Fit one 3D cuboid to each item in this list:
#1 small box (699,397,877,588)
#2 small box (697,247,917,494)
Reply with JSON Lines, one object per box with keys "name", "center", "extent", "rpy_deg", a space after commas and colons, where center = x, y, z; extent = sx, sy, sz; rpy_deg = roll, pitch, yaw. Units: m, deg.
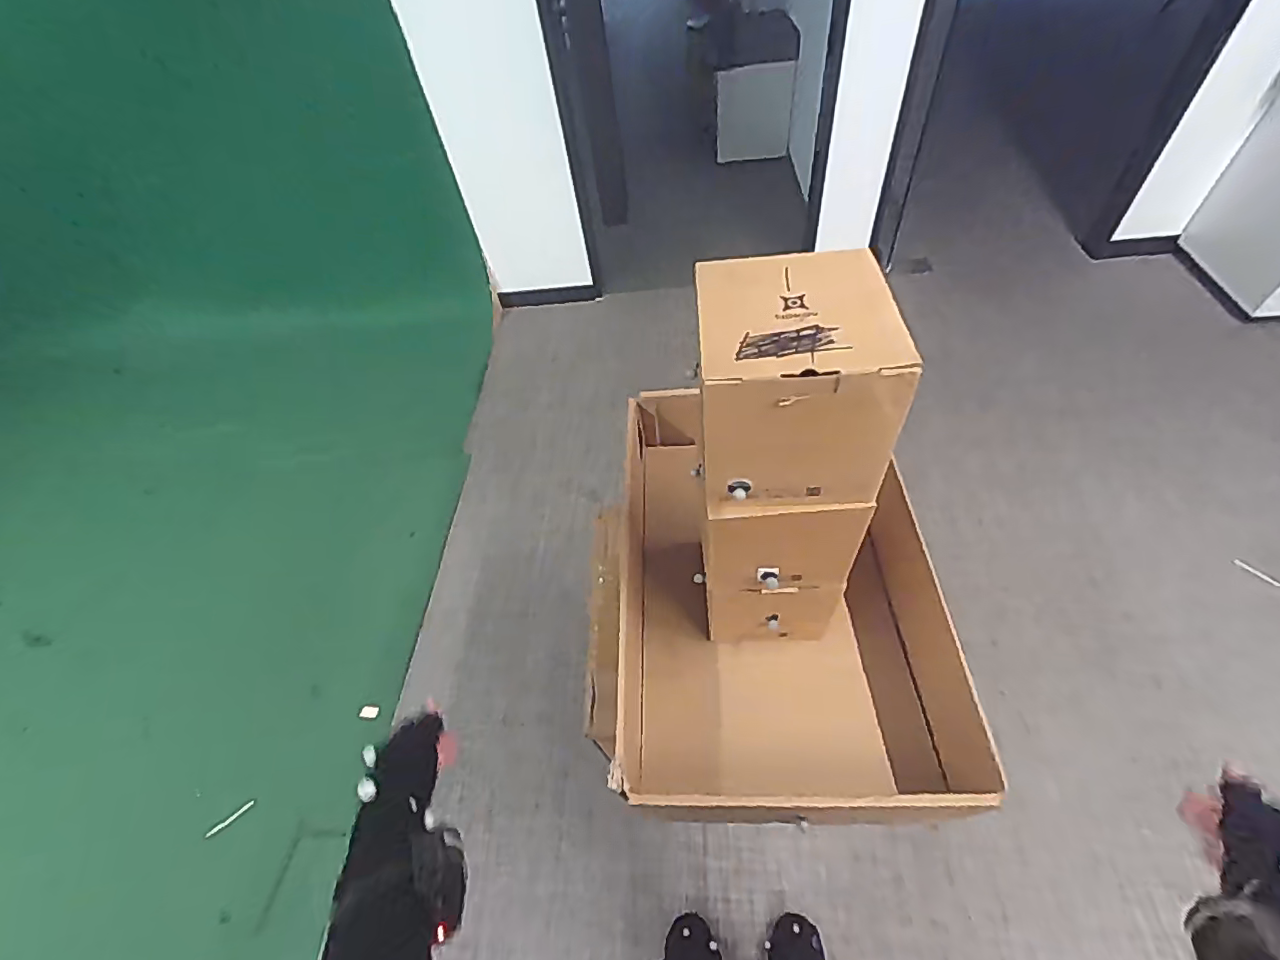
{"name": "small box", "center": [0.159, 0.011, 0.651], "extent": [0.168, 0.176, 0.179], "rpy_deg": [-5, 53, 4]}
{"name": "small box", "center": [0.143, -0.098, 0.528], "extent": [0.168, 0.176, 0.179], "rpy_deg": [-2, 51, 6]}
